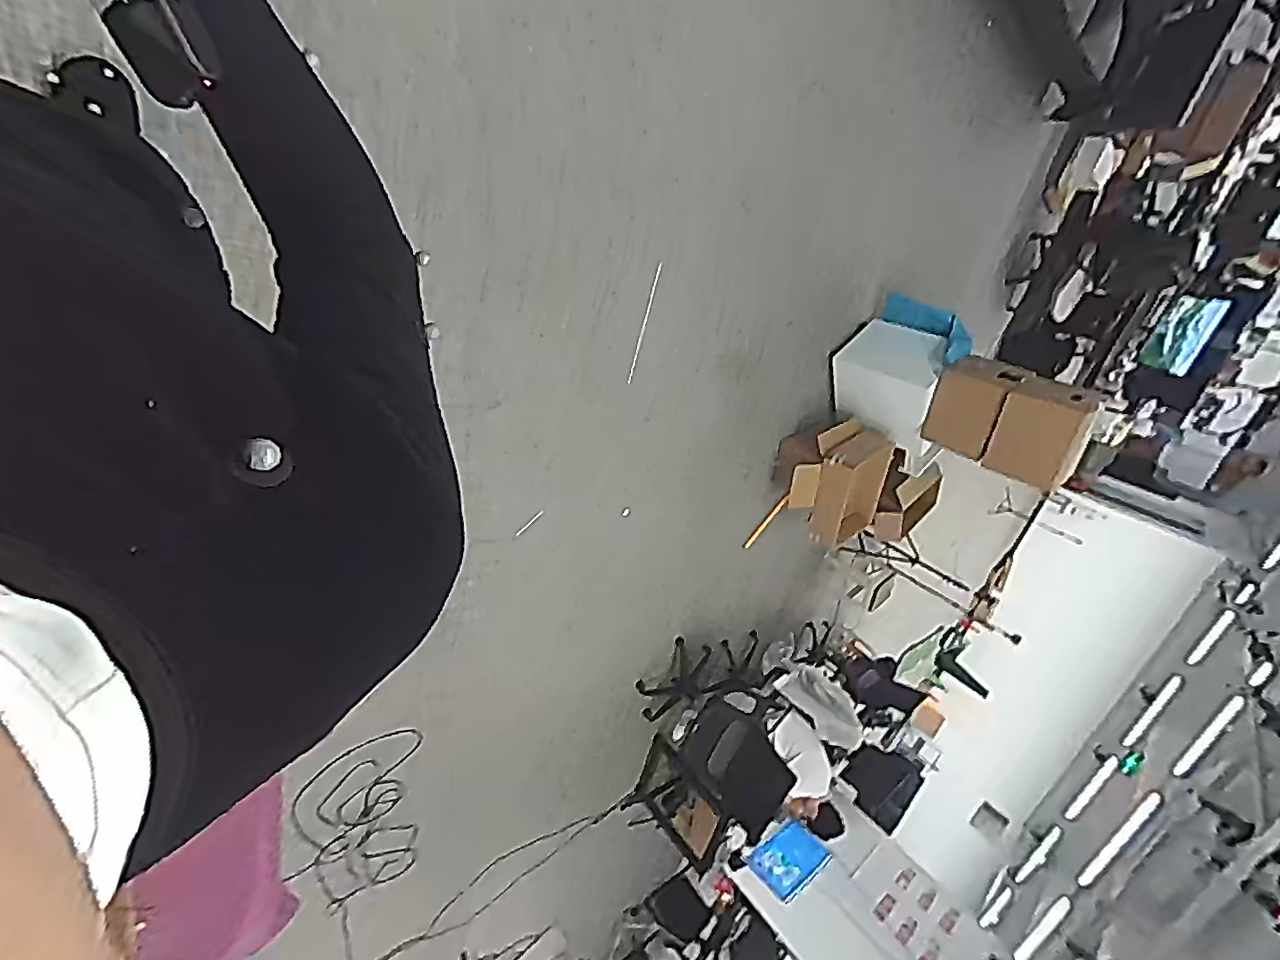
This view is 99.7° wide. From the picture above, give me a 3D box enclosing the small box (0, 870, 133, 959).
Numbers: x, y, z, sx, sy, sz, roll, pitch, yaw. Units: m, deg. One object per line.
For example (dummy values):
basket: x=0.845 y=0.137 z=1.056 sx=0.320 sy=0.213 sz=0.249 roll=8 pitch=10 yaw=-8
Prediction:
small box: x=-0.963 y=0.807 z=0.894 sx=0.179 sy=0.176 sz=0.168 roll=-2 pitch=118 yaw=-43
